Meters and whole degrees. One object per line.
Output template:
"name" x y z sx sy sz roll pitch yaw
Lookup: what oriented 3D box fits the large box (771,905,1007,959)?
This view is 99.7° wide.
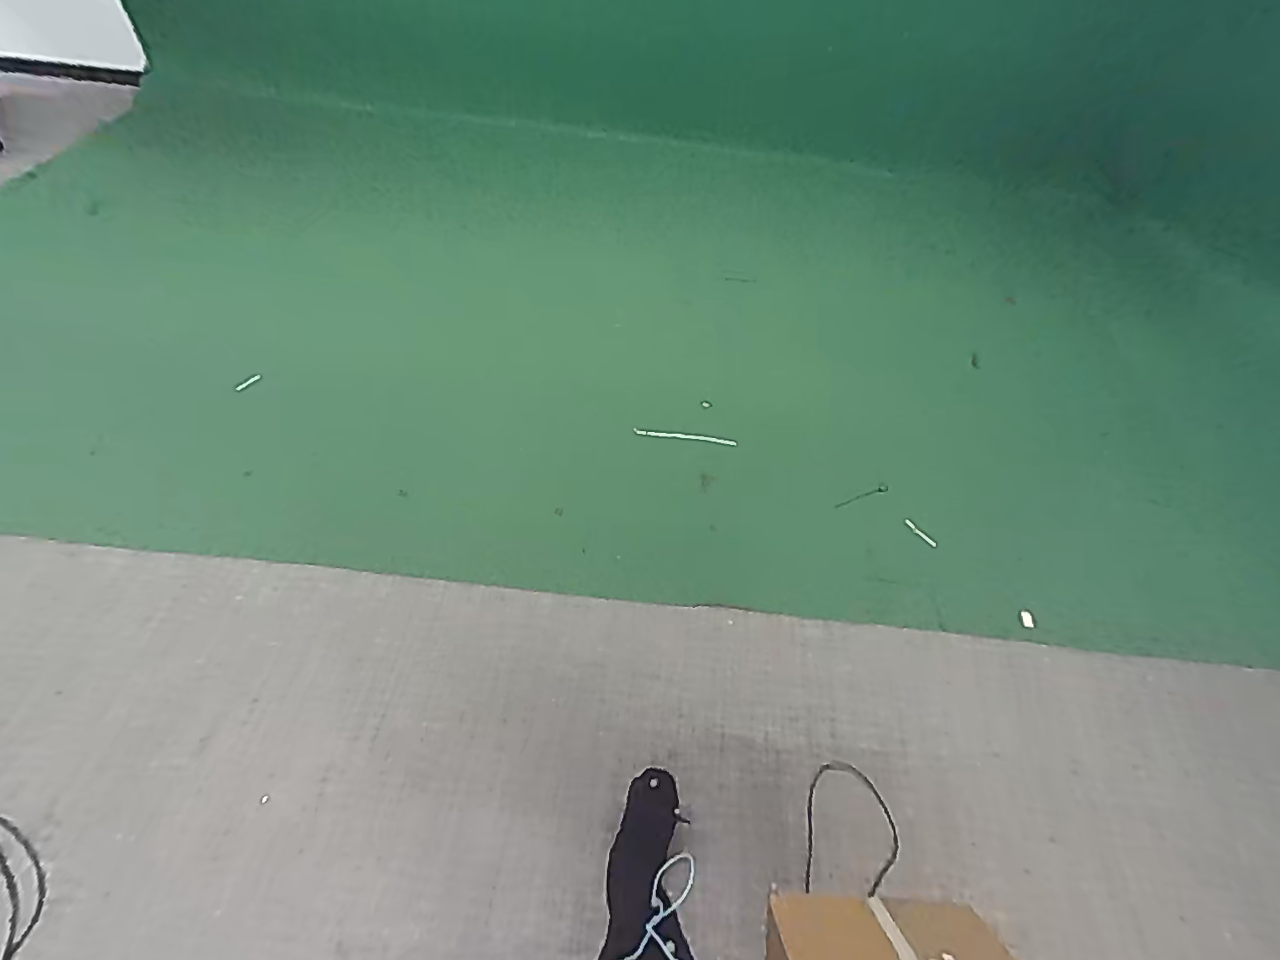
"large box" 0.343 0.787 0.606 0.320 0.408 0.320 4 86 0
